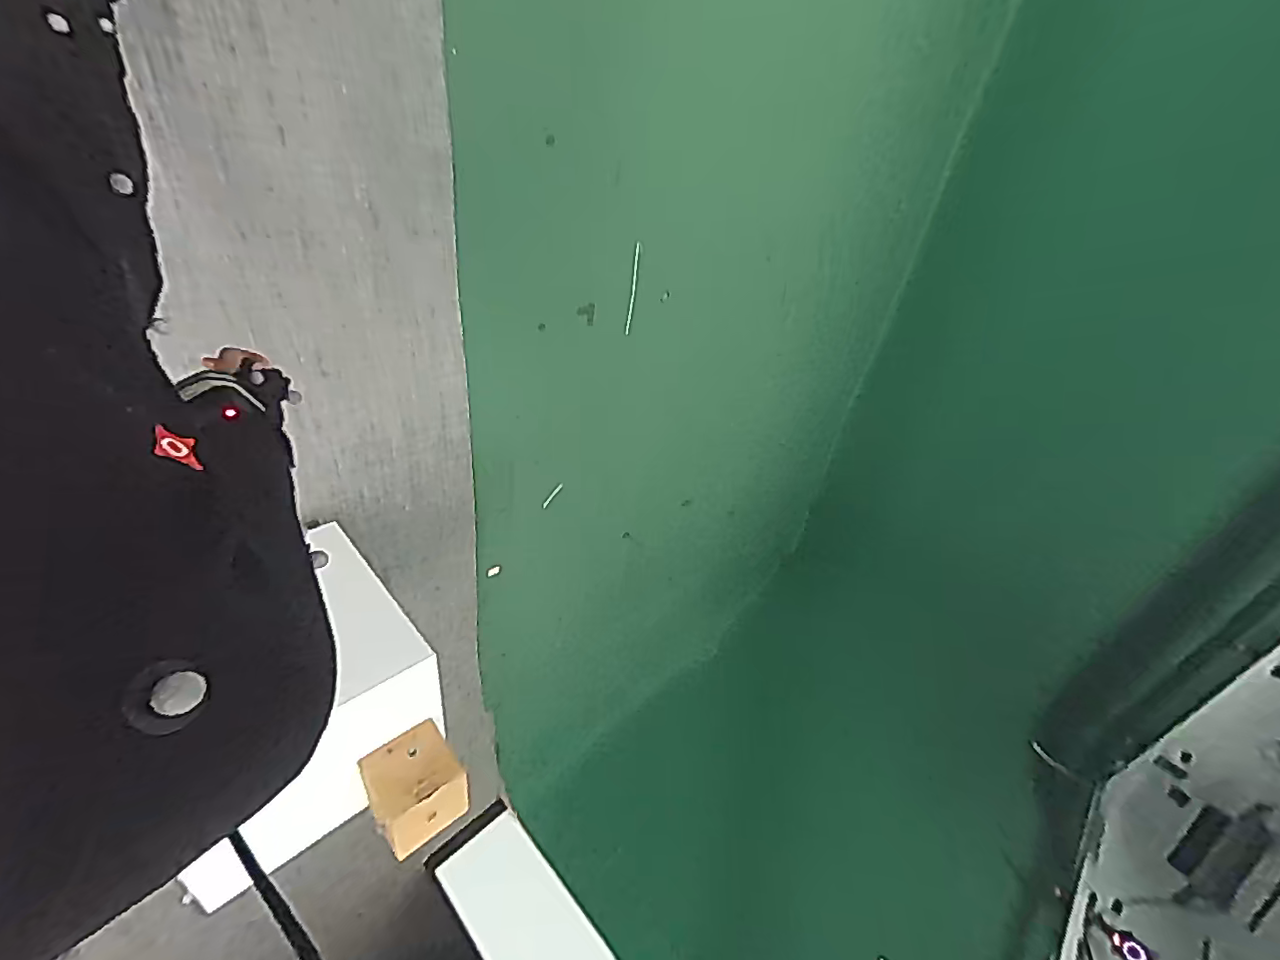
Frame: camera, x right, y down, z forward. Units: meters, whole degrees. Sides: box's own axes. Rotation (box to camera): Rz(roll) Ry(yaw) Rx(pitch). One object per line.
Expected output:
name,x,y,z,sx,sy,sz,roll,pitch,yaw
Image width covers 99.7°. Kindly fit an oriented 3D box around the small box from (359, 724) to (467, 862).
small box,-0.505,0.692,1.212,0.168,0.176,0.179,-23,134,-39
